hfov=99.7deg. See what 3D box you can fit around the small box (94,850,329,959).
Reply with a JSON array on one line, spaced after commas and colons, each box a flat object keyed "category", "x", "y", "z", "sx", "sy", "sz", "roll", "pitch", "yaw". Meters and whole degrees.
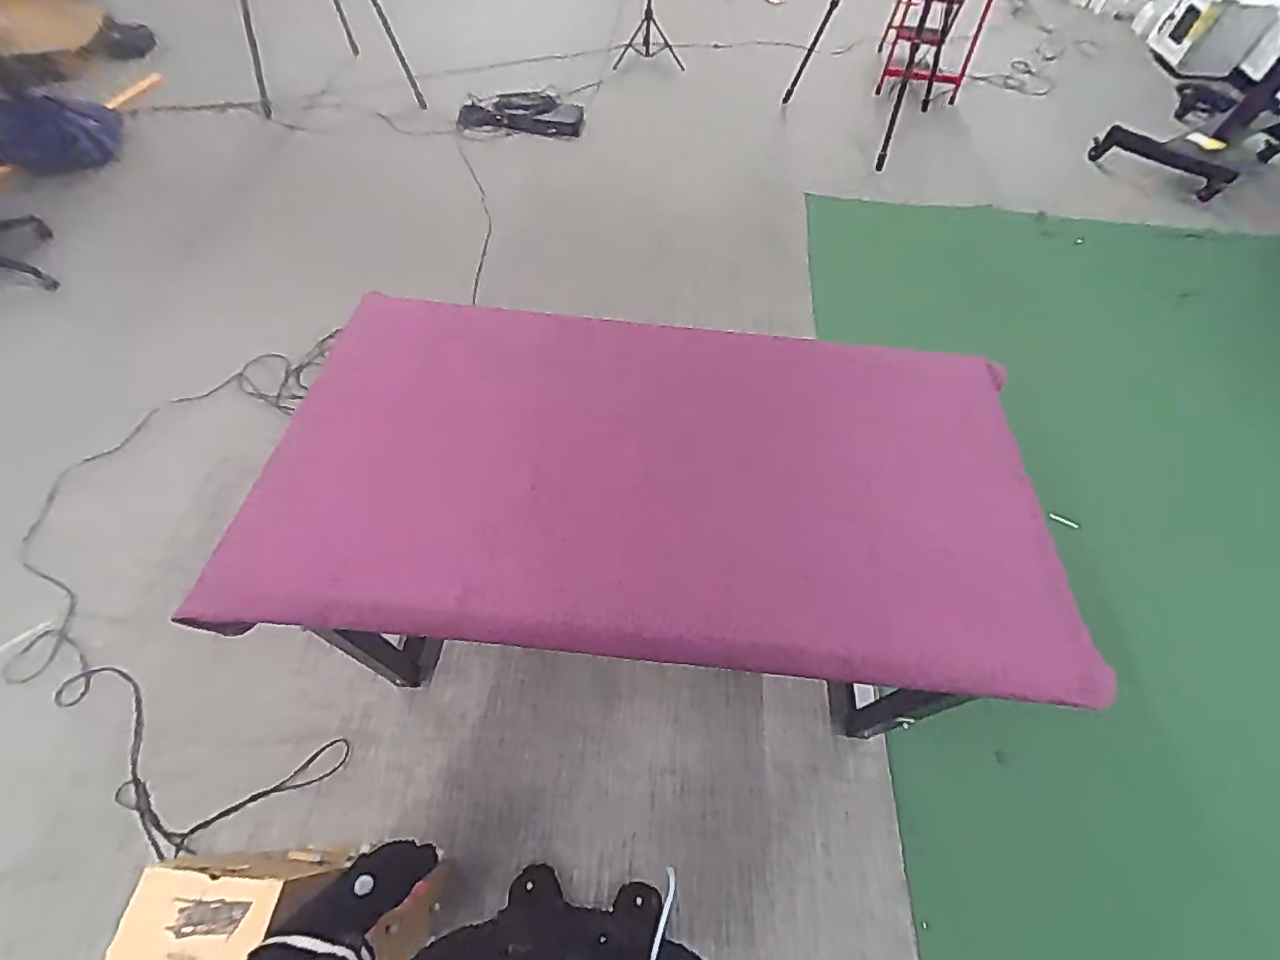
[{"category": "small box", "x": -0.513, "y": 0.565, "z": 0.654, "sx": 0.168, "sy": 0.176, "sz": 0.179, "roll": 7, "pitch": 60, "yaw": 2}]
